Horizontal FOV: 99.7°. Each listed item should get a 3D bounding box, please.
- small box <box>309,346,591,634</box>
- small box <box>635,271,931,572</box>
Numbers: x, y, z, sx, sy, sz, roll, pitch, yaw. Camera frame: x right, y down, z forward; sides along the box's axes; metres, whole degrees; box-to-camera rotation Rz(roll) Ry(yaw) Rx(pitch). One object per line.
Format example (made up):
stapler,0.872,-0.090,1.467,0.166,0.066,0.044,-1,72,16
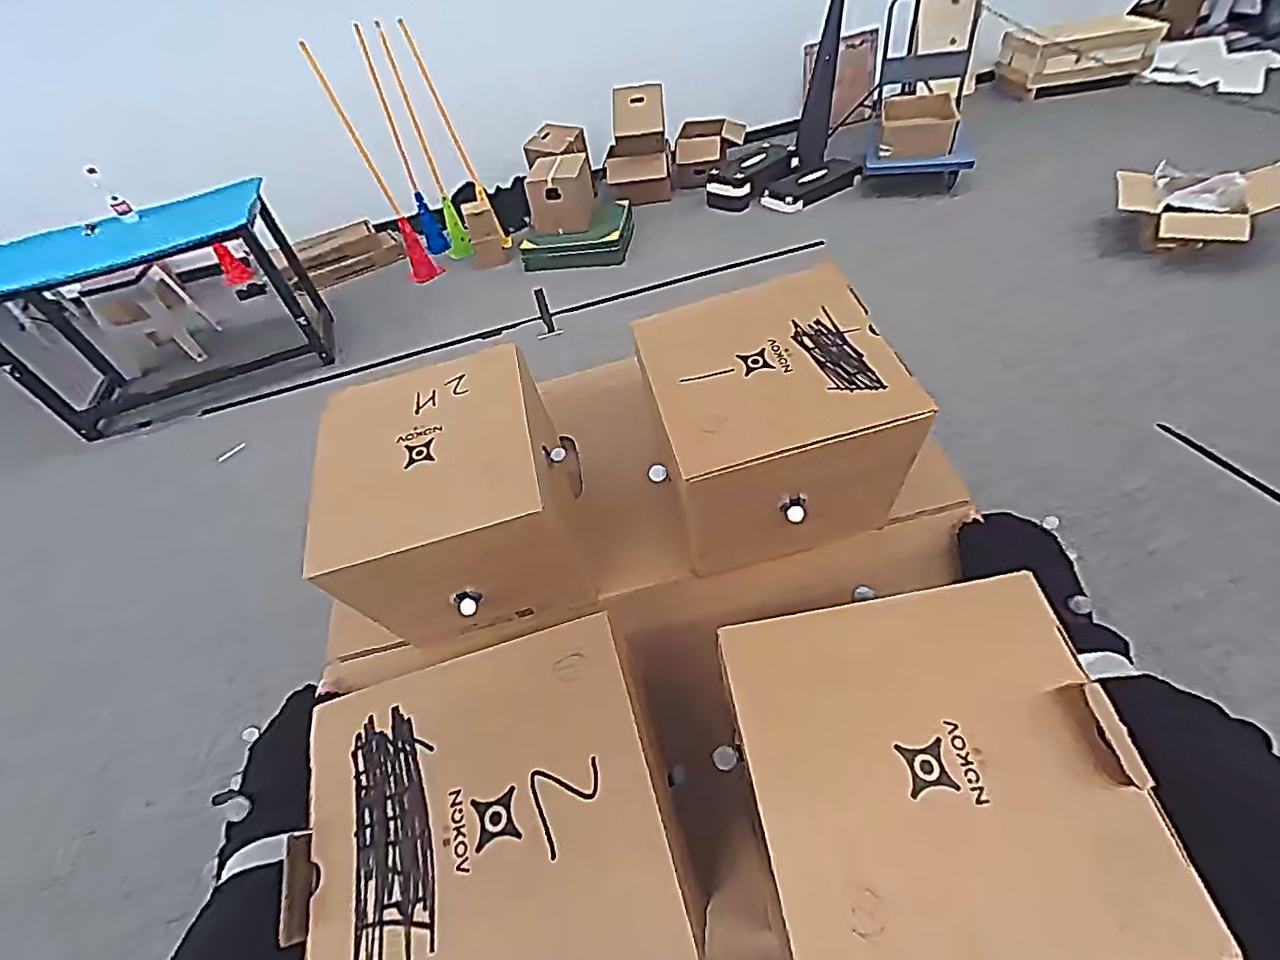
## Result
small box,-0.149,0.020,0.472,0.168,0.176,0.179,-15,55,0
small box,0.106,-0.041,0.465,0.179,0.176,0.168,-15,56,2
